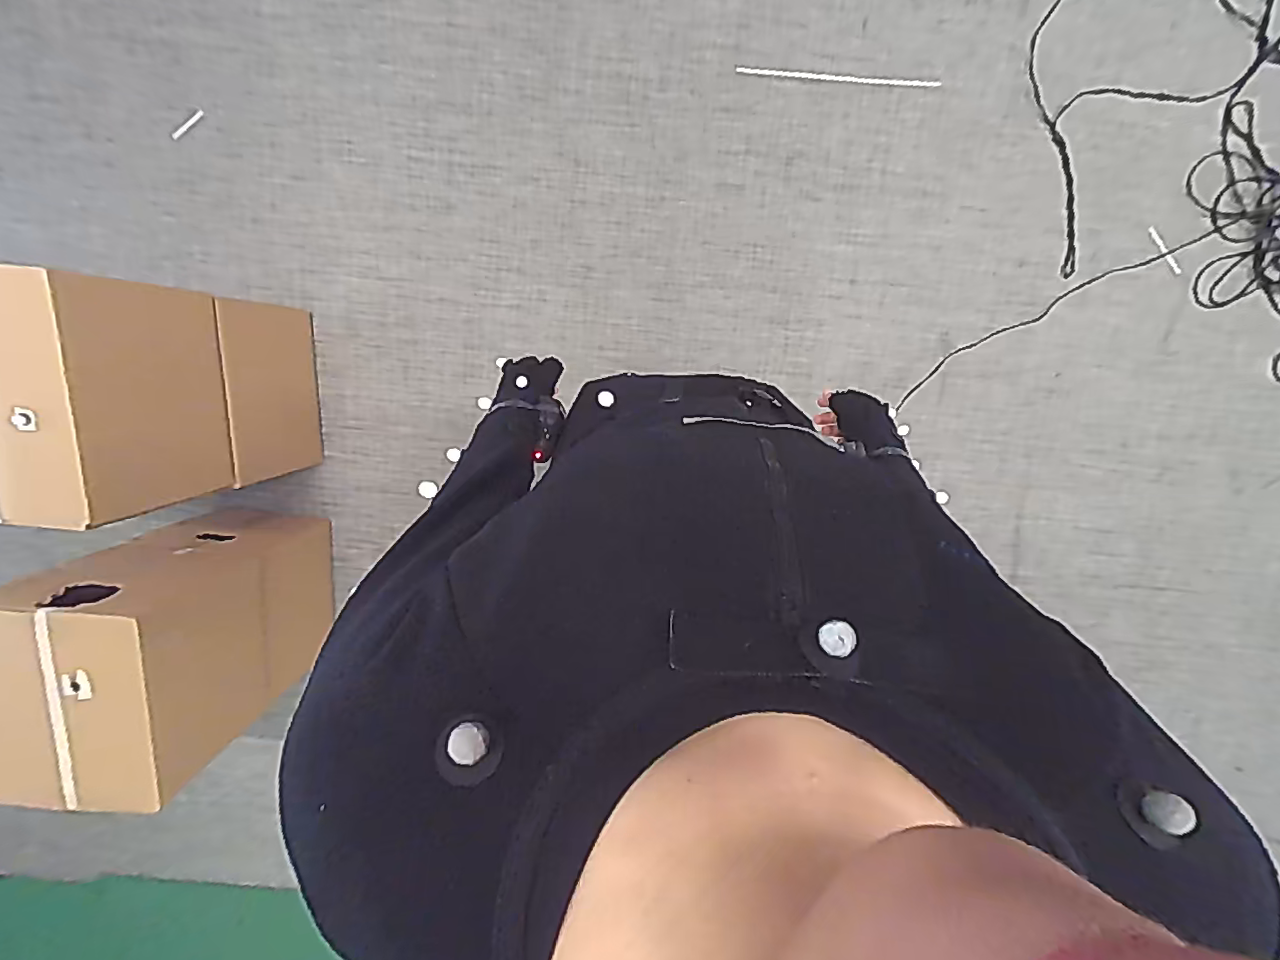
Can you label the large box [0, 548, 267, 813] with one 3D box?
[{"bbox_3d":[-1.026,0.385,1.107,0.320,0.320,0.408,5,101,-2],"label":"large box"}]
